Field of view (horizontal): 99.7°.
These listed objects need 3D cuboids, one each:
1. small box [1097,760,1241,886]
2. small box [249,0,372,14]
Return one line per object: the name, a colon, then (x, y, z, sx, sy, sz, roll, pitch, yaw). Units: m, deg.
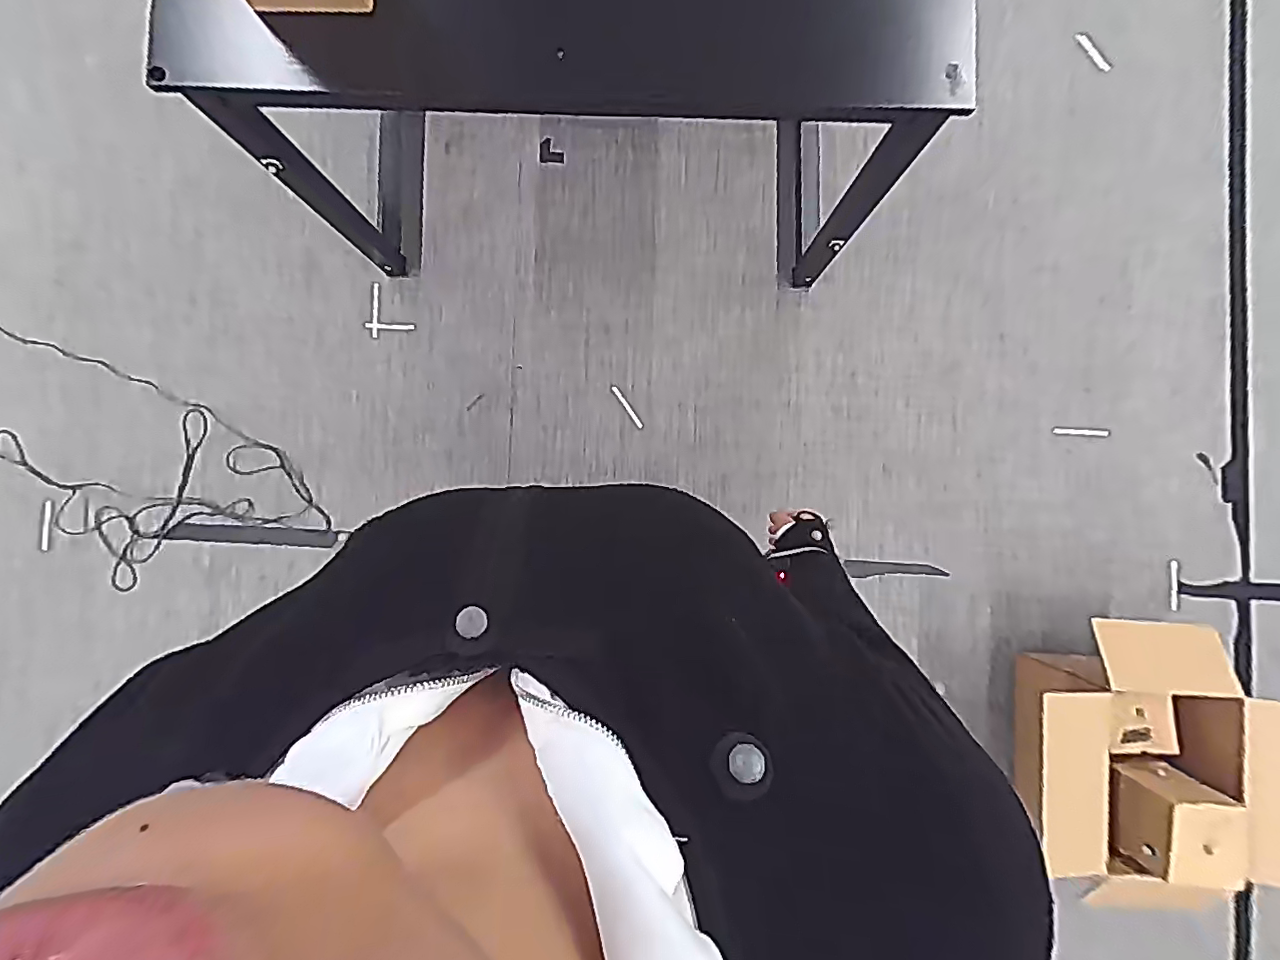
small box: (1.188, 0.770, 1.227, 0.168, 0.176, 0.179, 4, 89, -2)
small box: (-0.478, -0.764, 0.713, 0.179, 0.176, 0.168, 0, 88, 0)
